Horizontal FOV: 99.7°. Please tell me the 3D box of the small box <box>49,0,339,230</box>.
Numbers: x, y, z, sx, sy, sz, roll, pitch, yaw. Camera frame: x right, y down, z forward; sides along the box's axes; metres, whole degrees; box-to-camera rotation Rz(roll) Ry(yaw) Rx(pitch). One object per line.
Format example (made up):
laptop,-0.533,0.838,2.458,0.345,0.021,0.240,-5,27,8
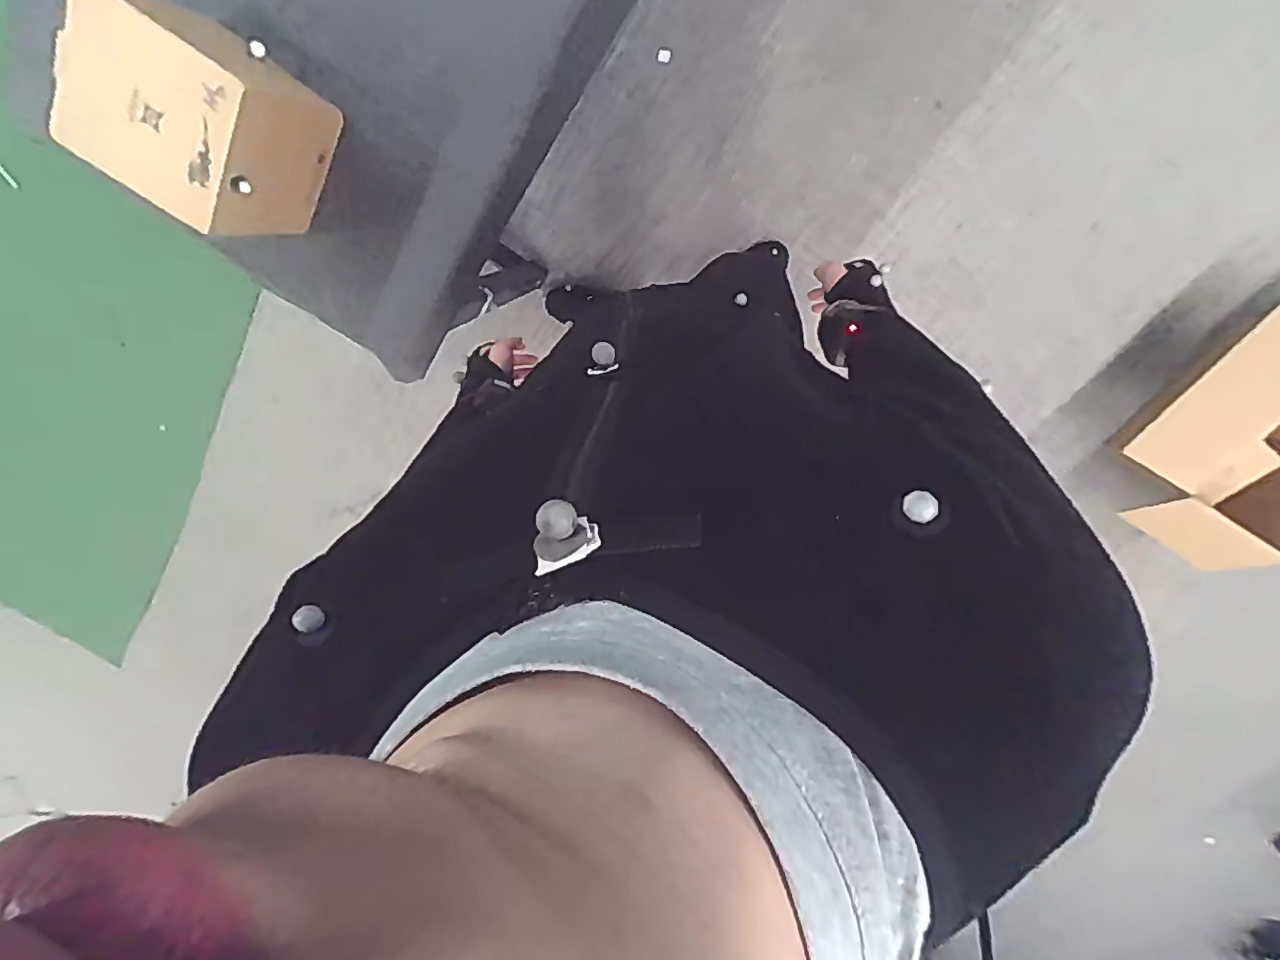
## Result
small box,-0.489,-0.407,0.612,0.179,0.176,0.168,33,116,-9
